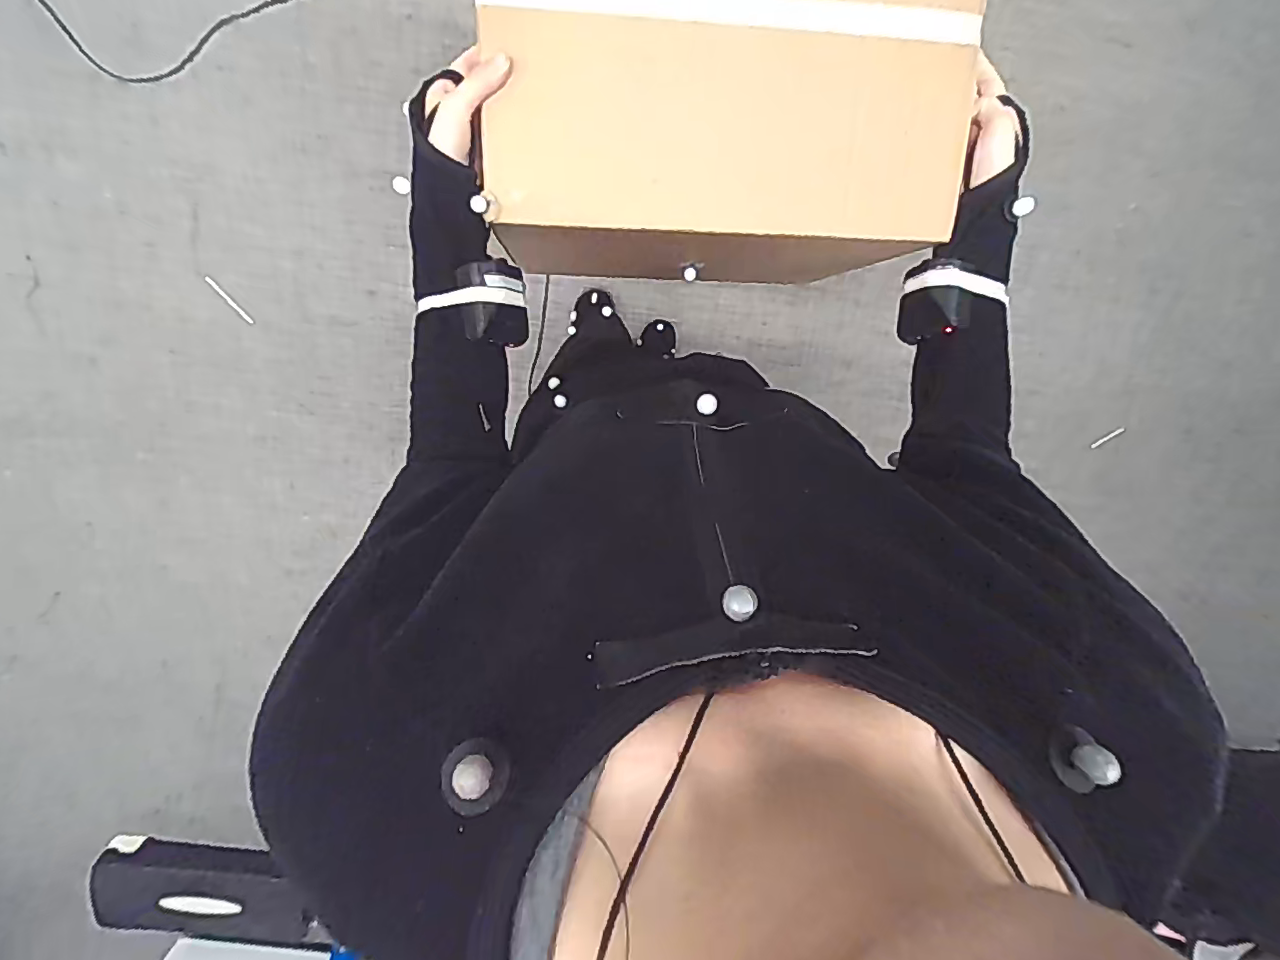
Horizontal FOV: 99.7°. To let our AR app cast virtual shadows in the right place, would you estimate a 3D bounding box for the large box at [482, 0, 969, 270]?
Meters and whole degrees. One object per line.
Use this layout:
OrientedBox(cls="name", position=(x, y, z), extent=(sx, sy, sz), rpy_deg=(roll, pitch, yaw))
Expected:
OrientedBox(cls="large box", position=(0.062, -0.407, 0.579), extent=(0.408, 0.320, 0.320), rpy_deg=(-1, 103, -6))
